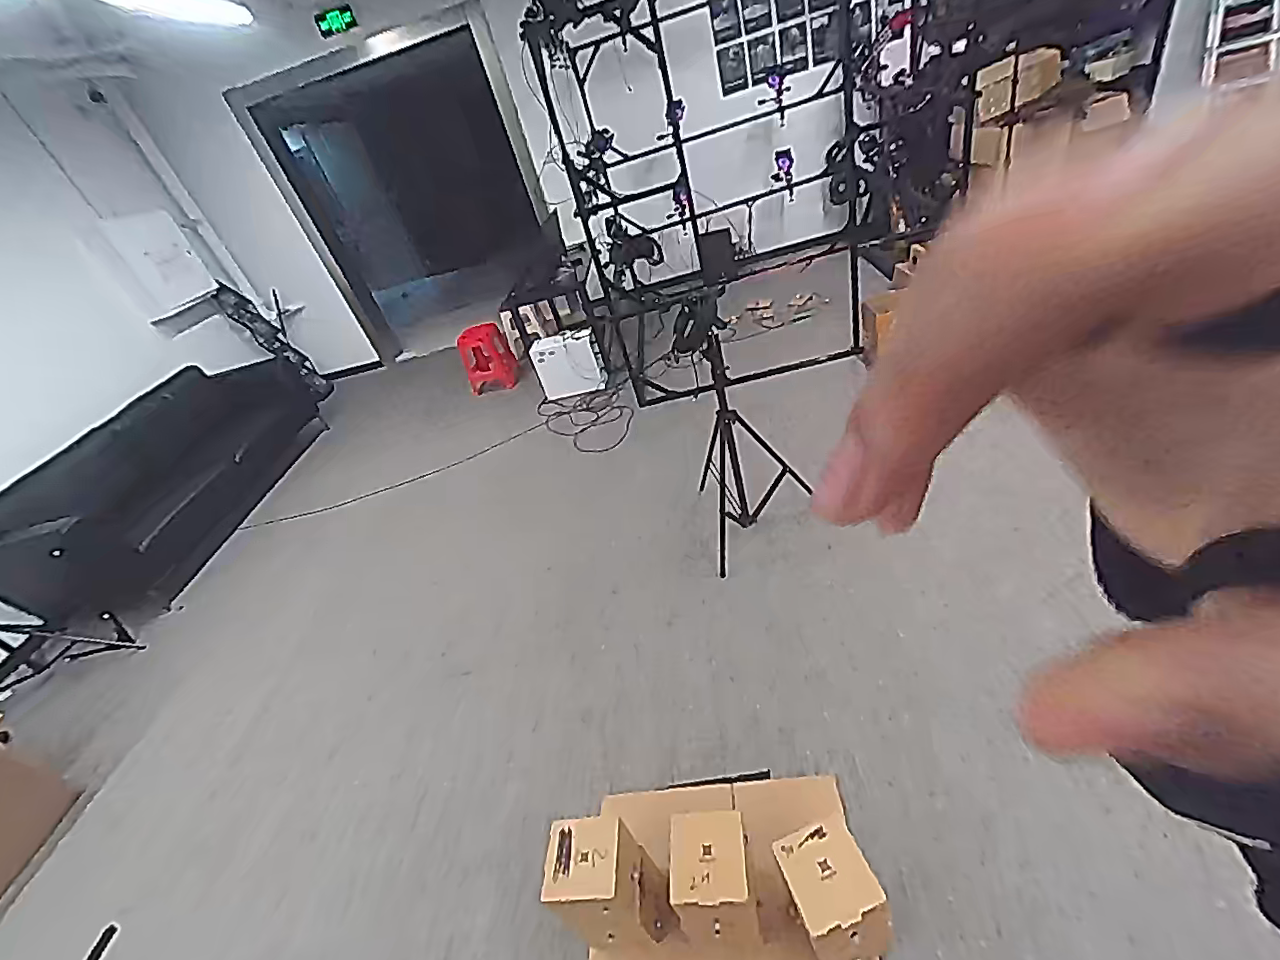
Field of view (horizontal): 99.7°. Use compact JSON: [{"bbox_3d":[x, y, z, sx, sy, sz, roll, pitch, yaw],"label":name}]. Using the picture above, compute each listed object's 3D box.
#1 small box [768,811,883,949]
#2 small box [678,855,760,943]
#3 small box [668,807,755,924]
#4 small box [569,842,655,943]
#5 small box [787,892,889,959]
[{"bbox_3d":[0.396,0.857,1.152,0.168,0.176,0.179,-22,36,-4],"label":"small box"},{"bbox_3d":[0.196,1.007,1.324,0.179,0.176,0.168,-10,36,11],"label":"small box"},{"bbox_3d":[0.163,0.876,1.229,0.168,0.176,0.179,-10,36,12],"label":"small box"},{"bbox_3d":[-0.062,1.052,1.377,0.179,0.176,0.168,-12,35,11],"label":"small box"},{"bbox_3d":[0.446,0.983,1.244,0.168,0.176,0.179,-24,34,-6],"label":"small box"}]
